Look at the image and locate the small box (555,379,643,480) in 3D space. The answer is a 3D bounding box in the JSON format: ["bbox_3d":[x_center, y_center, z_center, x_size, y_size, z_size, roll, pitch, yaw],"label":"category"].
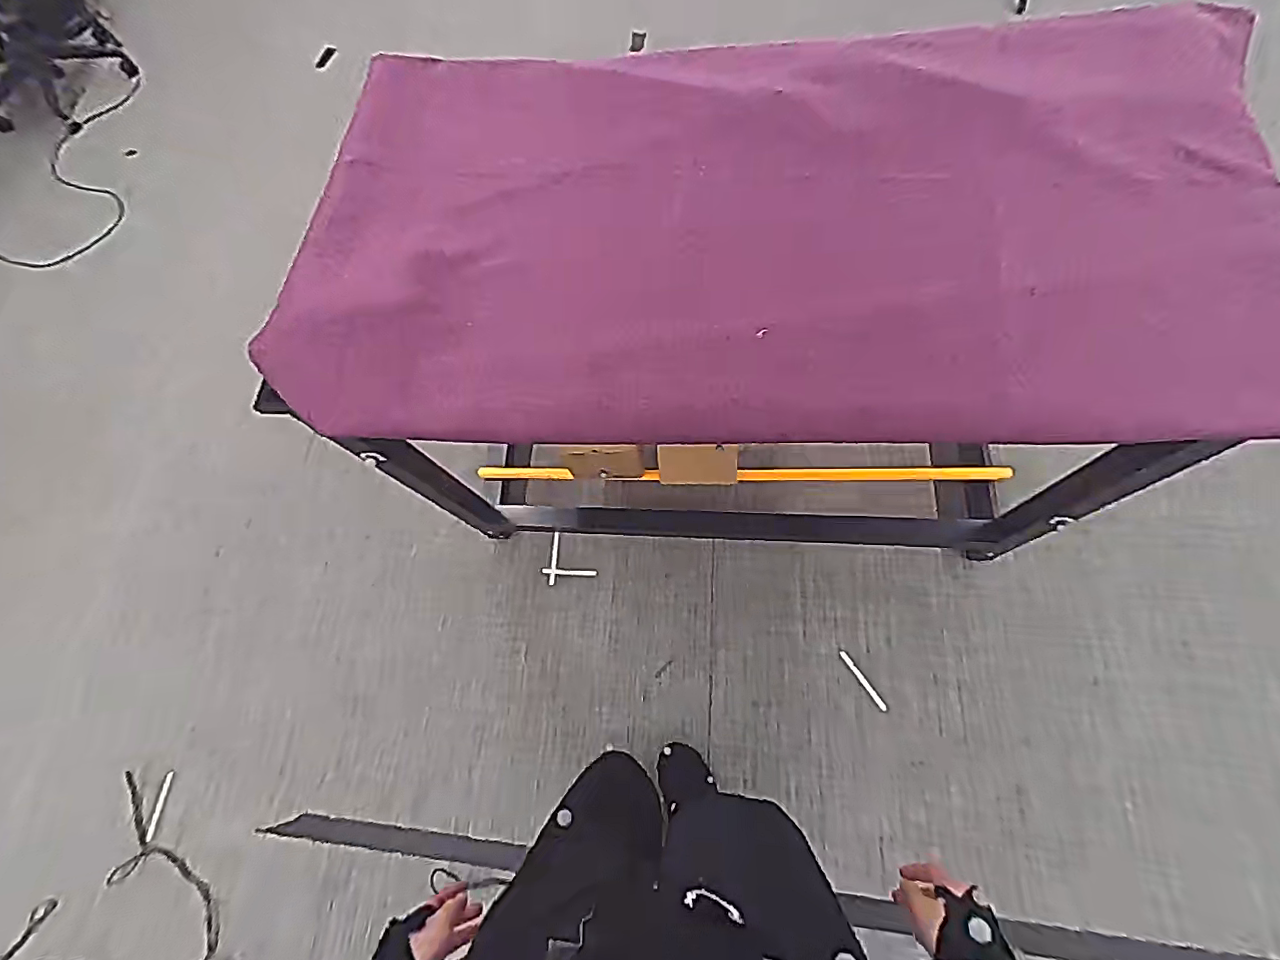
[{"bbox_3d":[-0.086,-0.109,1.222,0.168,0.176,0.179,-2,71,8],"label":"small box"}]
